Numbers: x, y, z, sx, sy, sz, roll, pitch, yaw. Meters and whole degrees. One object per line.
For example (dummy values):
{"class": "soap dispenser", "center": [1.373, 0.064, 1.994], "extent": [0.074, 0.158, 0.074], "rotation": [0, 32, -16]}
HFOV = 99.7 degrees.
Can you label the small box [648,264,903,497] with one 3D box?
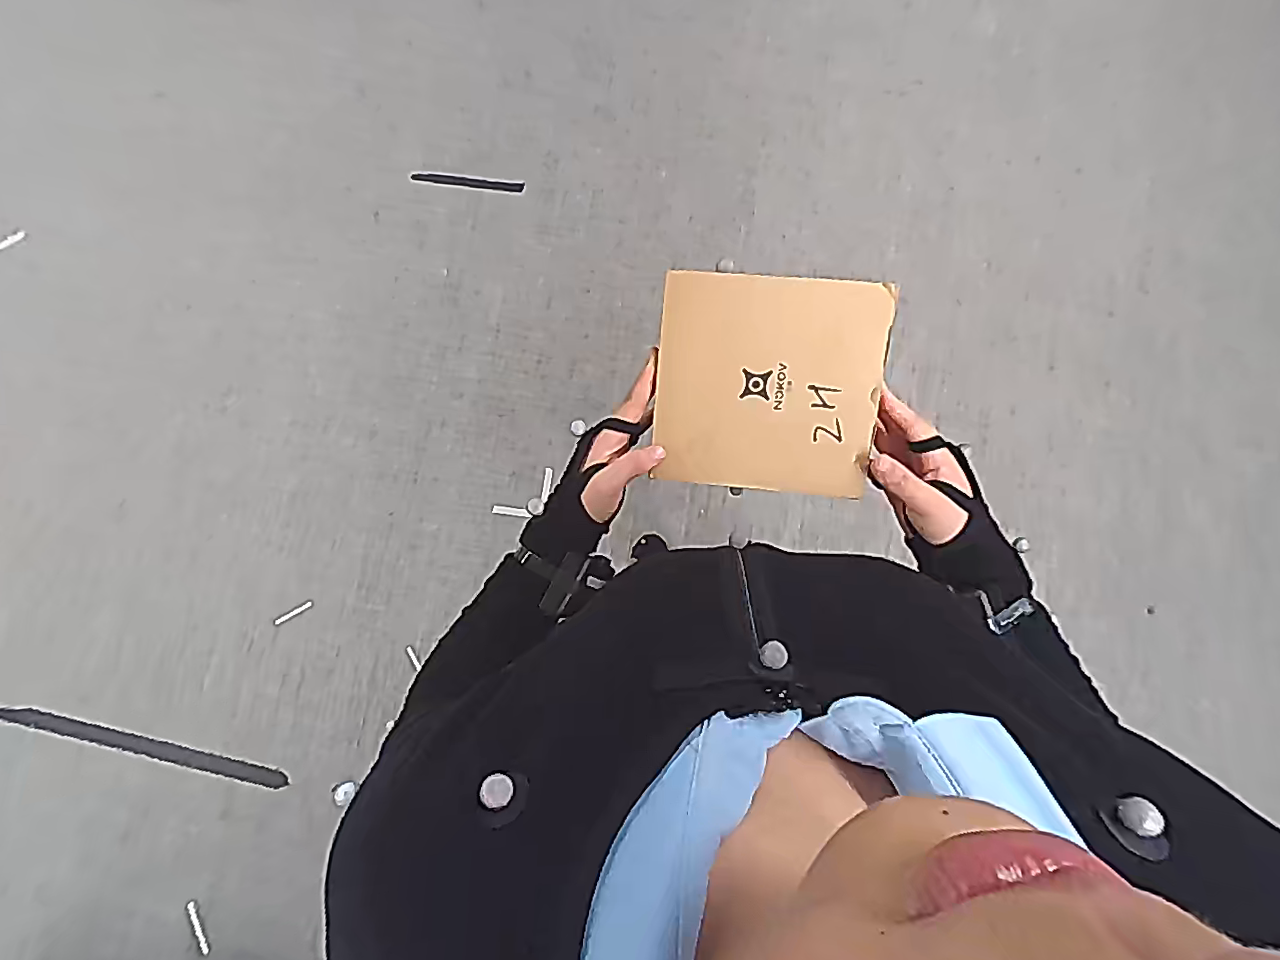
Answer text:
{"class": "small box", "center": [0.109, -0.091, 0.494], "extent": [0.179, 0.176, 0.168], "rotation": [6, 103, 6]}
